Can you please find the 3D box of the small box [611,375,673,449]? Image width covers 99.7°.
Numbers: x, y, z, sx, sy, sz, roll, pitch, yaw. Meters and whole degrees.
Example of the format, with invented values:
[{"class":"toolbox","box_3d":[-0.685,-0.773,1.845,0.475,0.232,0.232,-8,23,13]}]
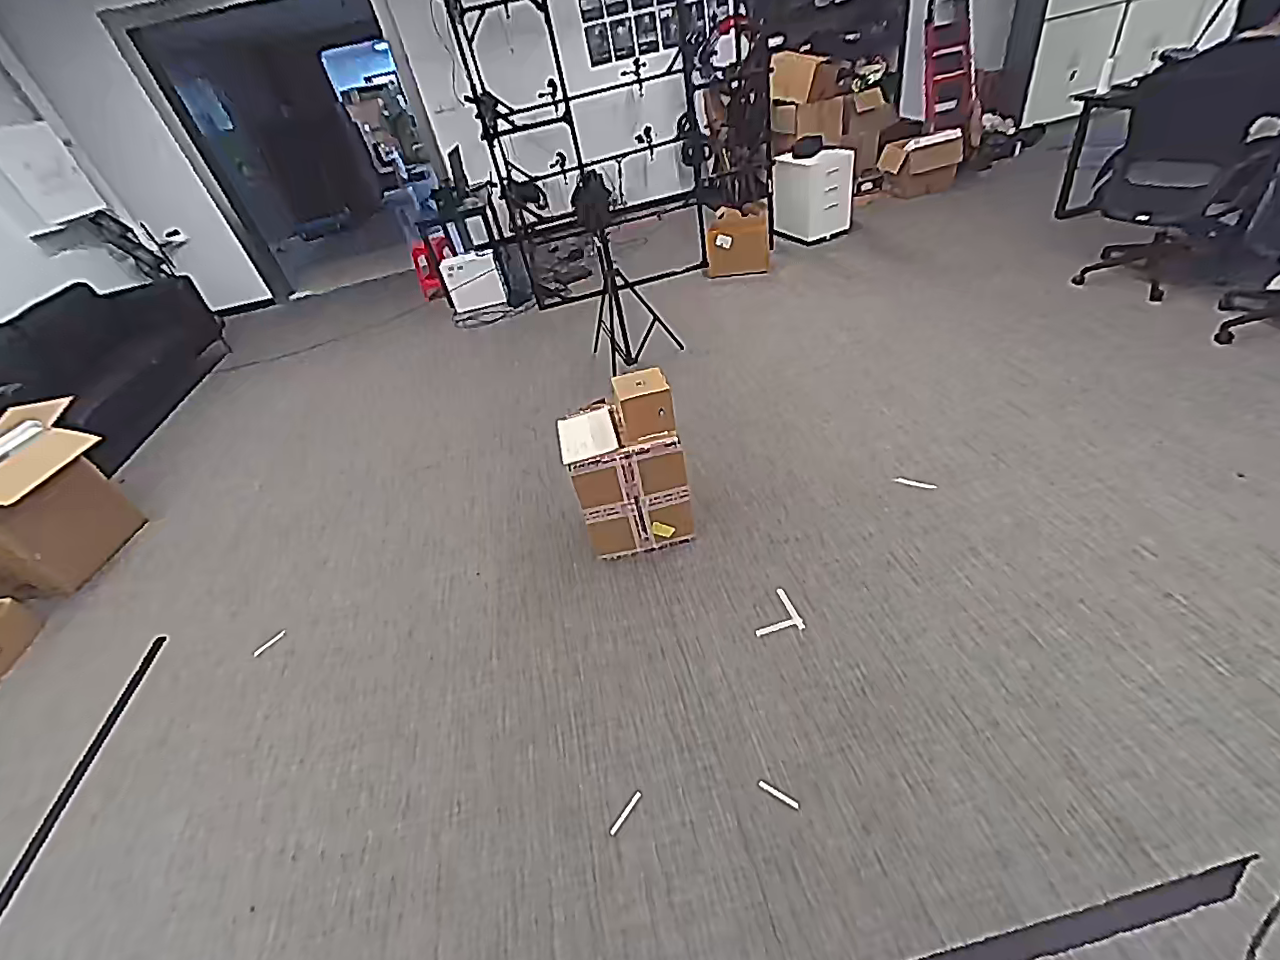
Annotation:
[{"class":"small box","box_3d":[0.011,-0.232,1.859,0.179,0.176,0.168,-16,40,-4]}]
